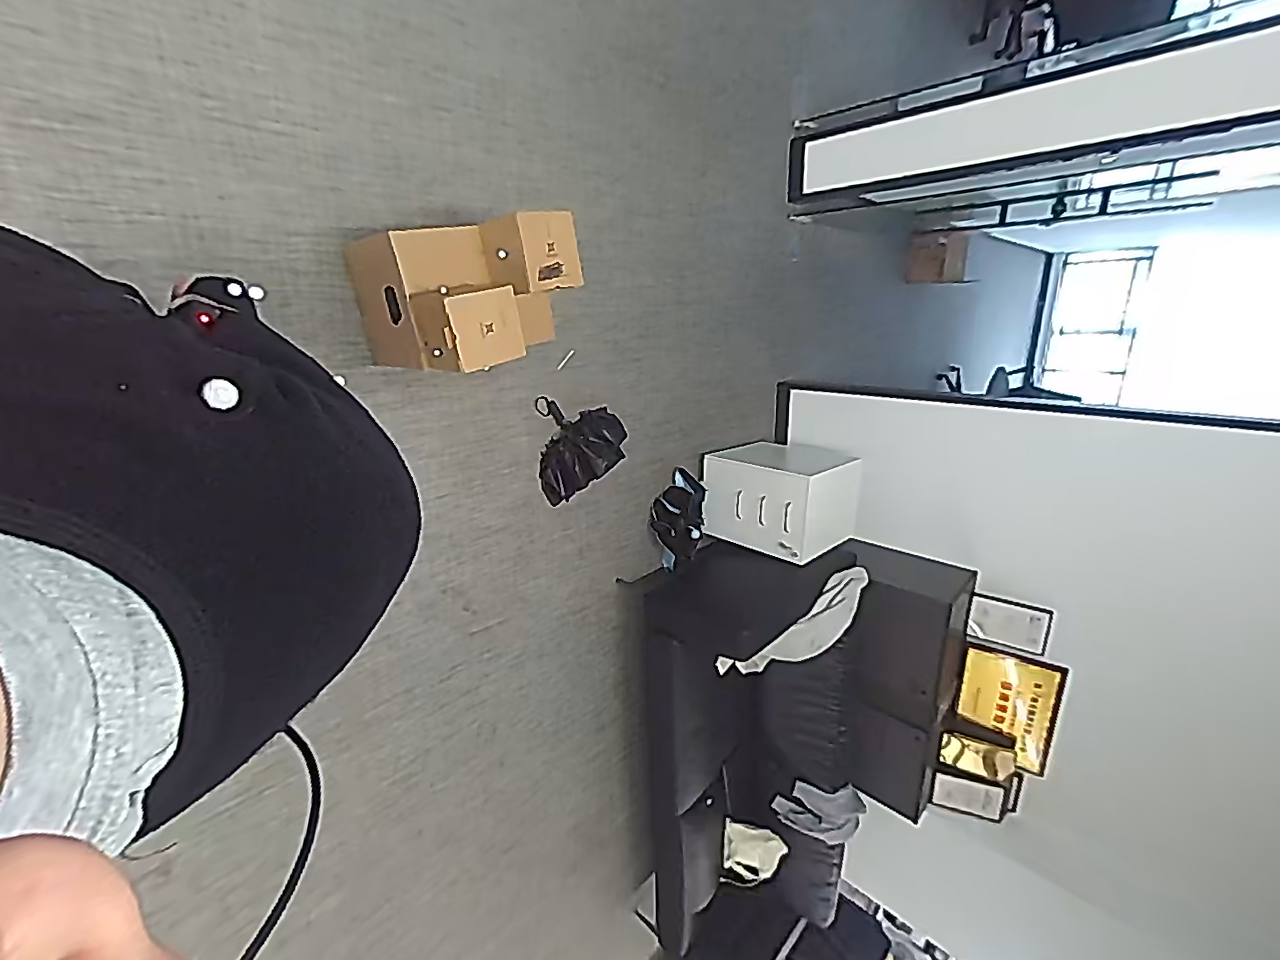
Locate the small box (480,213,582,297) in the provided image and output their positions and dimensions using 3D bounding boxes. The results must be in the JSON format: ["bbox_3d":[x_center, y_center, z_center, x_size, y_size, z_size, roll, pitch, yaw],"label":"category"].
[{"bbox_3d":[-0.271,-0.554,1.345,0.168,0.176,0.179,-26,116,-40],"label":"small box"}]

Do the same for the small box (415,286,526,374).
[{"bbox_3d":[-0.401,-0.354,1.264,0.179,0.176,0.168,-31,125,-39],"label":"small box"}]
